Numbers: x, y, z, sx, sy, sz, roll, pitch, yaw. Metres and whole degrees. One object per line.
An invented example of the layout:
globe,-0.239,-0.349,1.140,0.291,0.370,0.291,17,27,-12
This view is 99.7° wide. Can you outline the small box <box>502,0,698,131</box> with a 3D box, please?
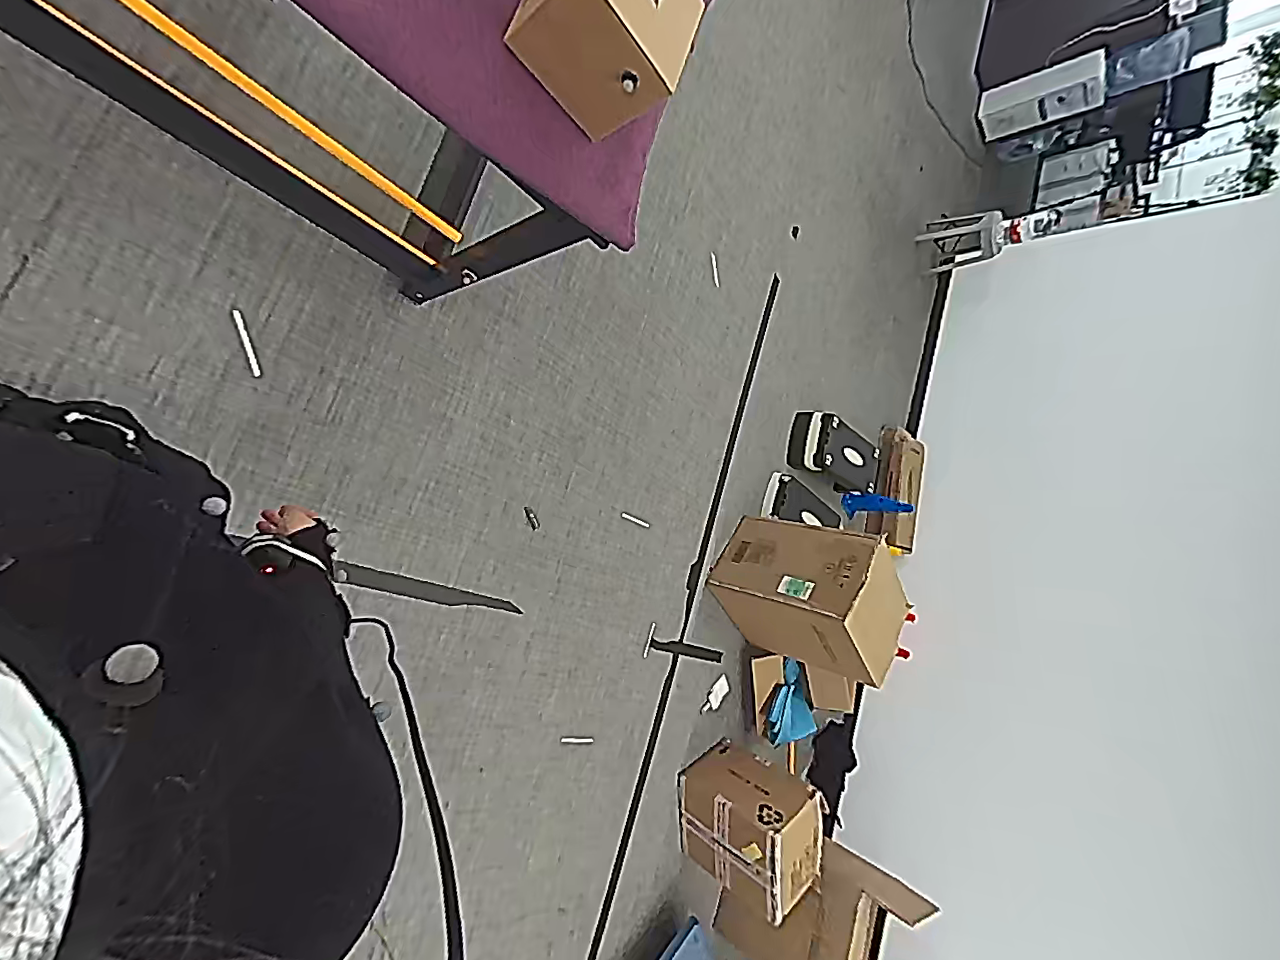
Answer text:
small box,-0.053,-0.623,0.744,0.179,0.176,0.168,30,72,-43
